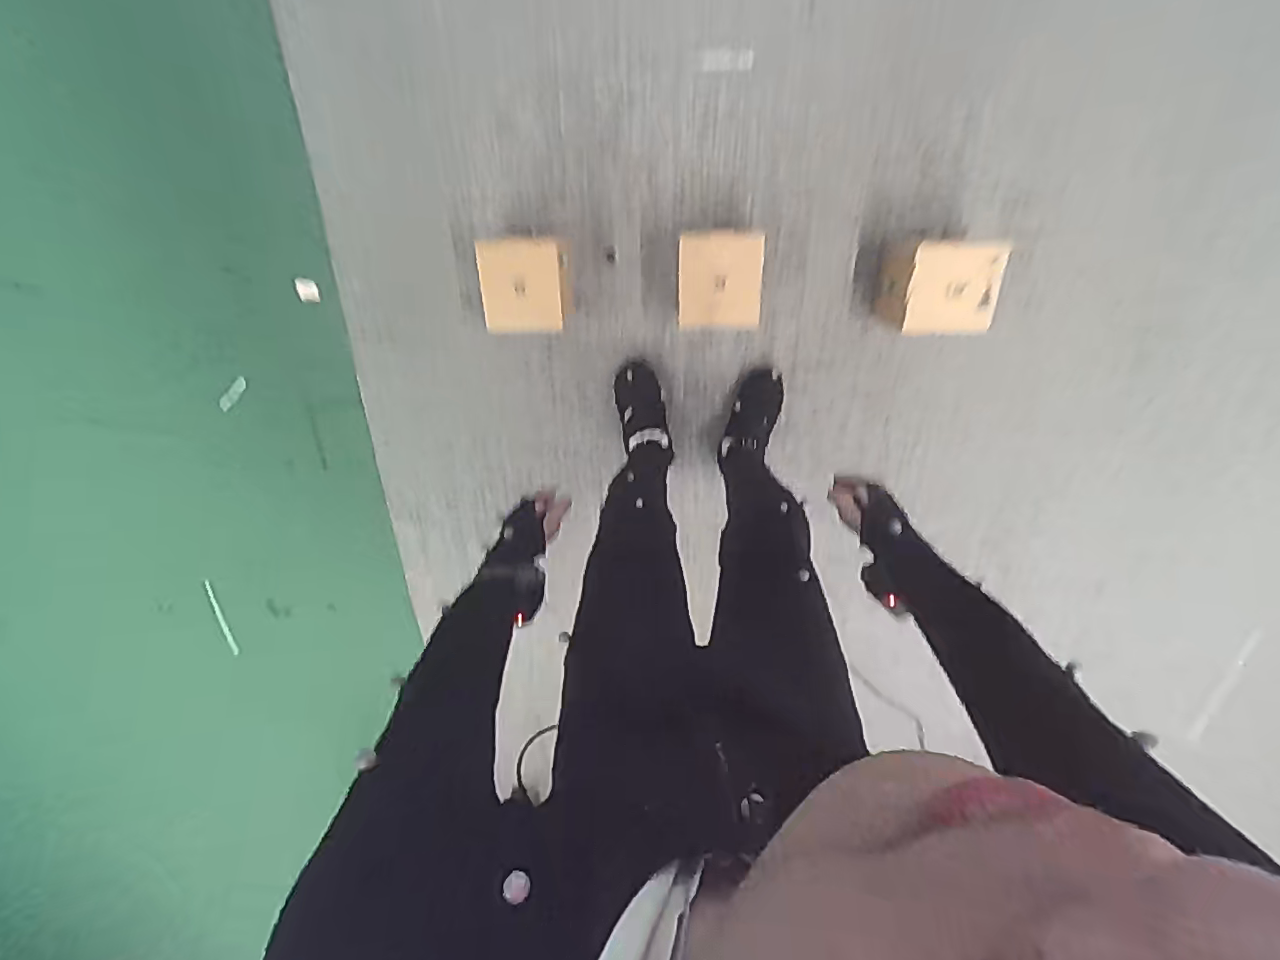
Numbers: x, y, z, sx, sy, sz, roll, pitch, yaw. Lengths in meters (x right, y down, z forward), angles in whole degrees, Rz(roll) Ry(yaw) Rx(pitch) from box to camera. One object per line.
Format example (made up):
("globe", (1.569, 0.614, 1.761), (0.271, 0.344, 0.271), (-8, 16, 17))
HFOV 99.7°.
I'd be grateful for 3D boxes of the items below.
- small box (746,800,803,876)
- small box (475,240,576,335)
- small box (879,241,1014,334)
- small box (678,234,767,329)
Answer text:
("small box", (0.477, 1.267, 1.924), (0.168, 0.176, 0.179), (-8, 115, 7))
("small box", (-0.234, -0.415, 1.156), (0.168, 0.176, 0.179), (0, 114, 4))
("small box", (0.616, -0.400, 1.116), (0.179, 0.176, 0.168), (1, 116, 3))
("small box", (0.165, -0.419, 1.133), (0.168, 0.176, 0.179), (0, 116, 4))
